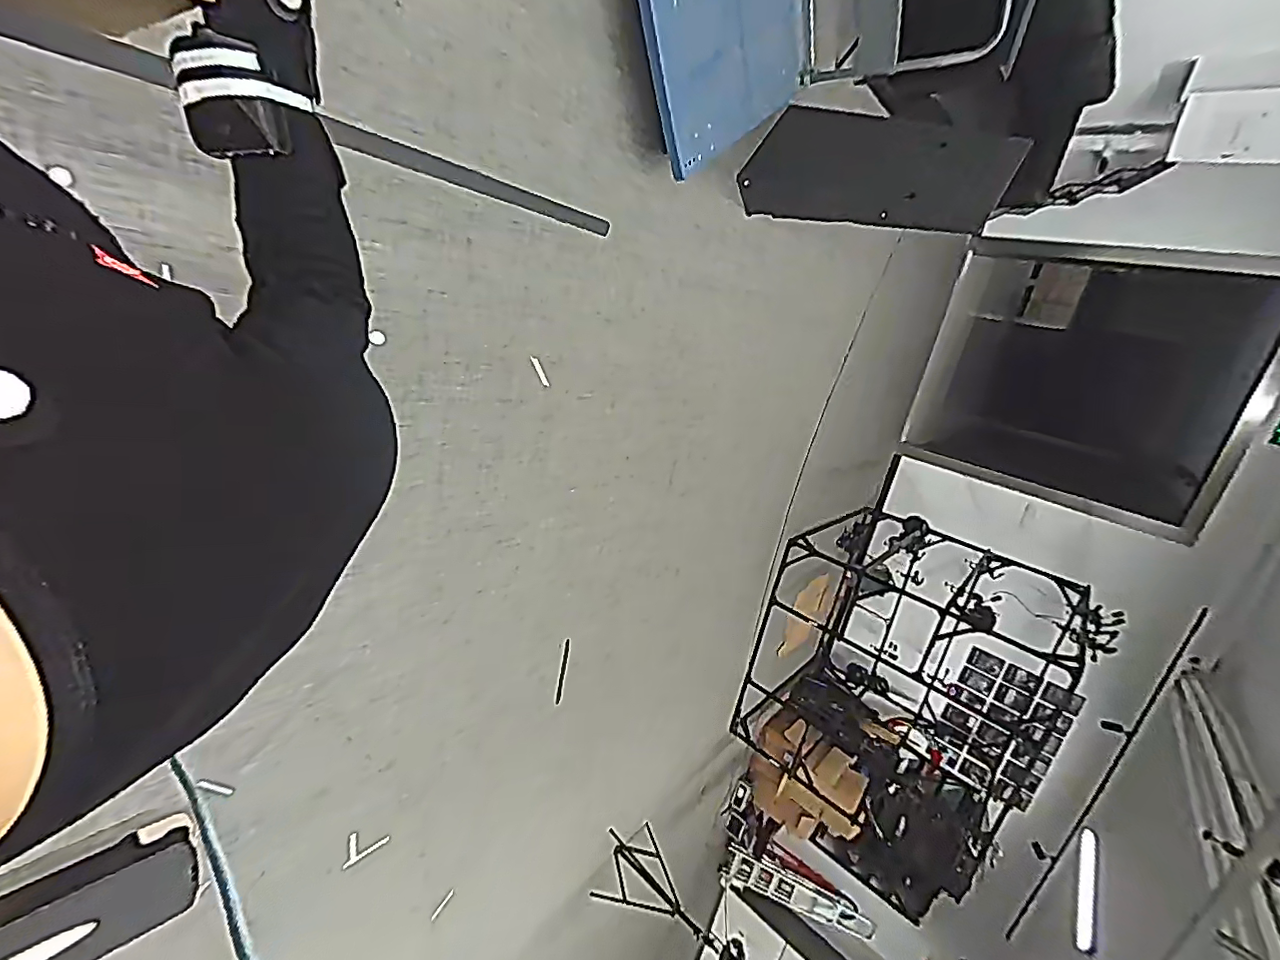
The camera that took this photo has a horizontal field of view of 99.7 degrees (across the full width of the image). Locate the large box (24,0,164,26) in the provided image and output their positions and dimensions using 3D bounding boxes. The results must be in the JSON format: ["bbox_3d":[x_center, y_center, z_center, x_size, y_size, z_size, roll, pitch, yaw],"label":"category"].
[{"bbox_3d":[-0.491,-0.477,0.231,0.408,0.320,0.320,-15,124,-48],"label":"large box"}]
